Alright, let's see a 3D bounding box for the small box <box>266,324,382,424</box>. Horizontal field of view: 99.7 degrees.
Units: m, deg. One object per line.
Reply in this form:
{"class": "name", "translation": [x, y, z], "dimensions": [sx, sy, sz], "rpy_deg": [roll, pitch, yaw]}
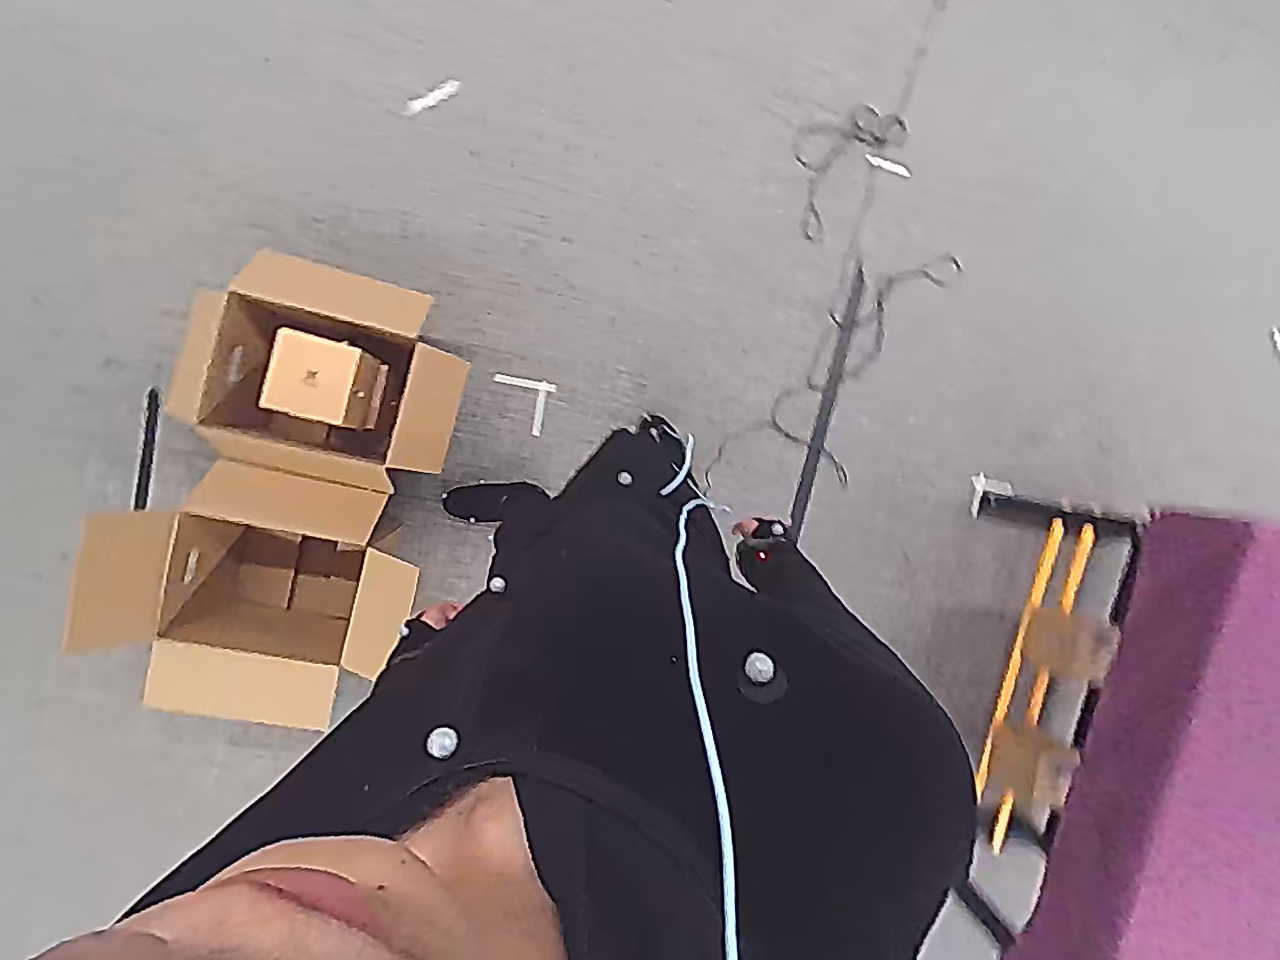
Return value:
{"class": "small box", "translation": [-0.713, -0.234, 1.242], "dimensions": [0.168, 0.176, 0.179], "rpy_deg": [15, 92, -11]}

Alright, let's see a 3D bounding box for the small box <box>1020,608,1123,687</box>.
{"class": "small box", "translation": [1.336, 0.517, 1.687], "dimensions": [0.168, 0.176, 0.179], "rpy_deg": [10, 97, -10]}
